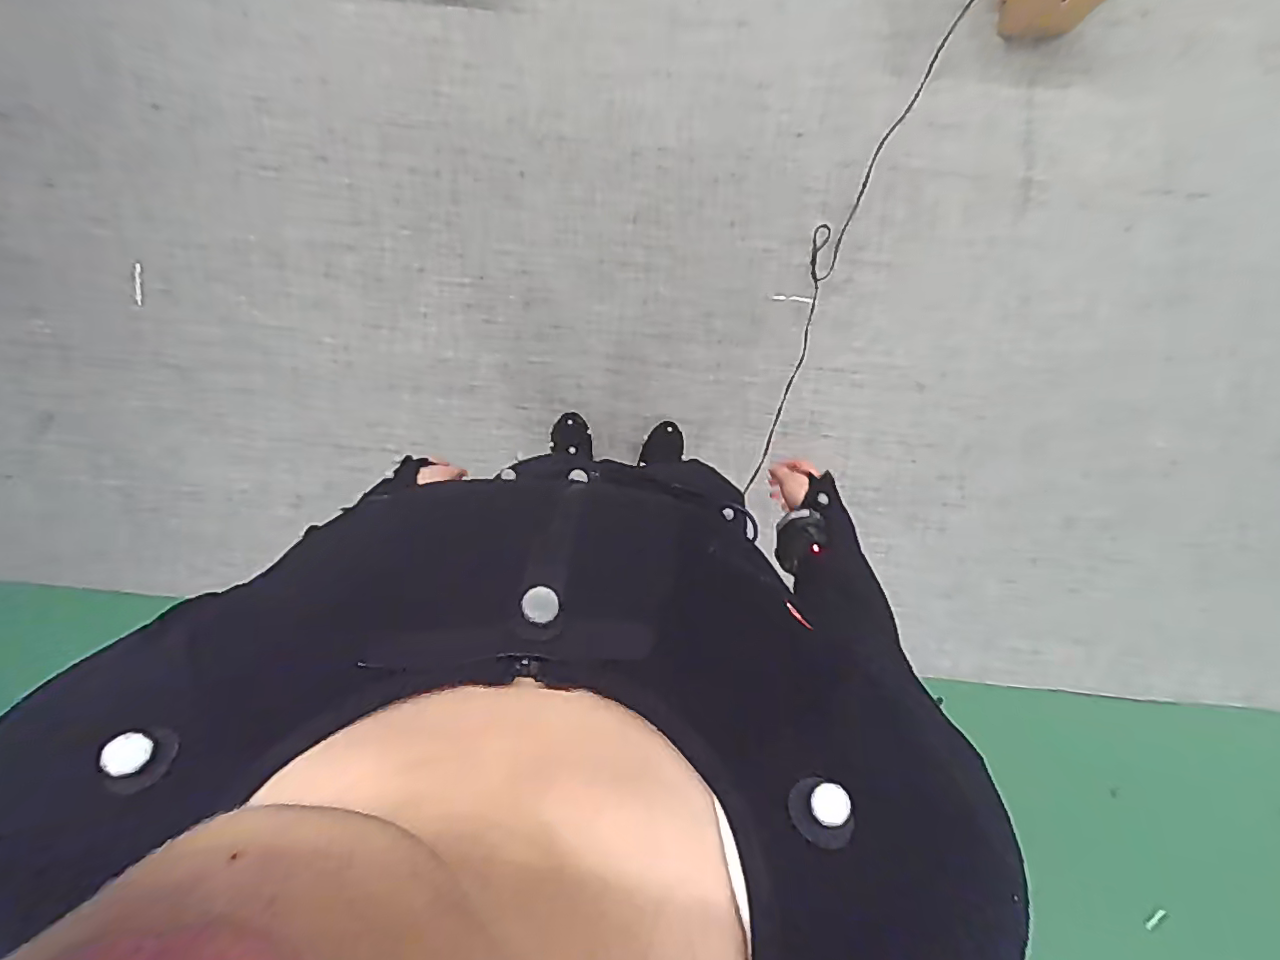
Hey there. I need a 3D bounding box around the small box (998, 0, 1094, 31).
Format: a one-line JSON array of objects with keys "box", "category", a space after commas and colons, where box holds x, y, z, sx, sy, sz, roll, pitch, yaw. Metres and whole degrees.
[{"box": [0.936, -1.146, 1.204, 0.179, 0.176, 0.168, -2, 98, 2], "category": "small box"}]
